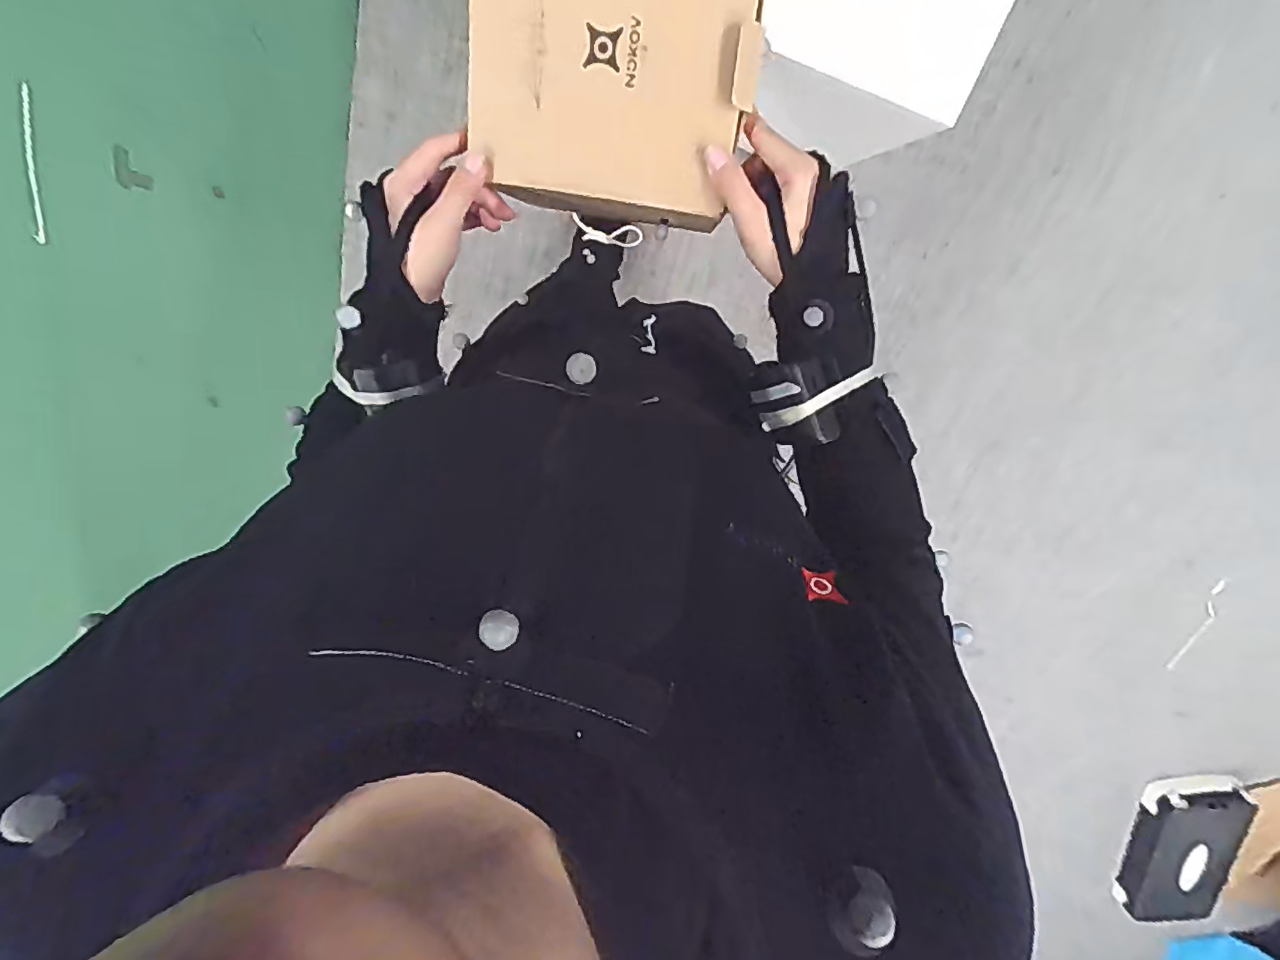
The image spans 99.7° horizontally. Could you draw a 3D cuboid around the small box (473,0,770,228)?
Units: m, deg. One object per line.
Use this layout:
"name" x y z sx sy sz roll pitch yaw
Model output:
"small box" -0.009 -0.291 0.403 0.179 0.176 0.168 8 110 1
